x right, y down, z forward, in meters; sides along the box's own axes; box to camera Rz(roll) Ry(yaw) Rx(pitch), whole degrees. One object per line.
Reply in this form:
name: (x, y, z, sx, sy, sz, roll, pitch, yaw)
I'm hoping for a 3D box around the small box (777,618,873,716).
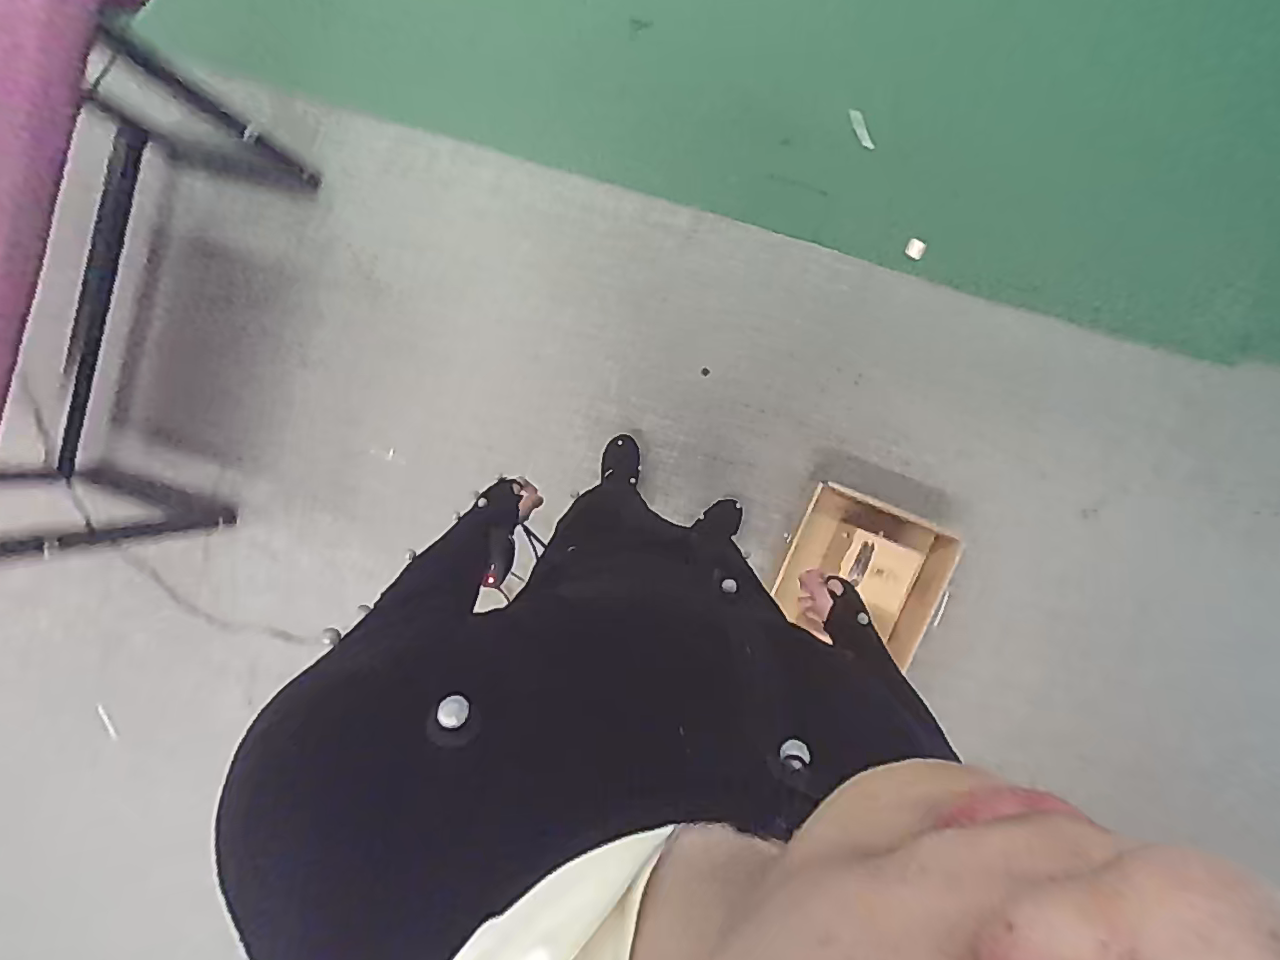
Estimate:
small box: (0.493, 0.496, 1.466, 0.179, 0.176, 0.168, 23, 93, 4)
